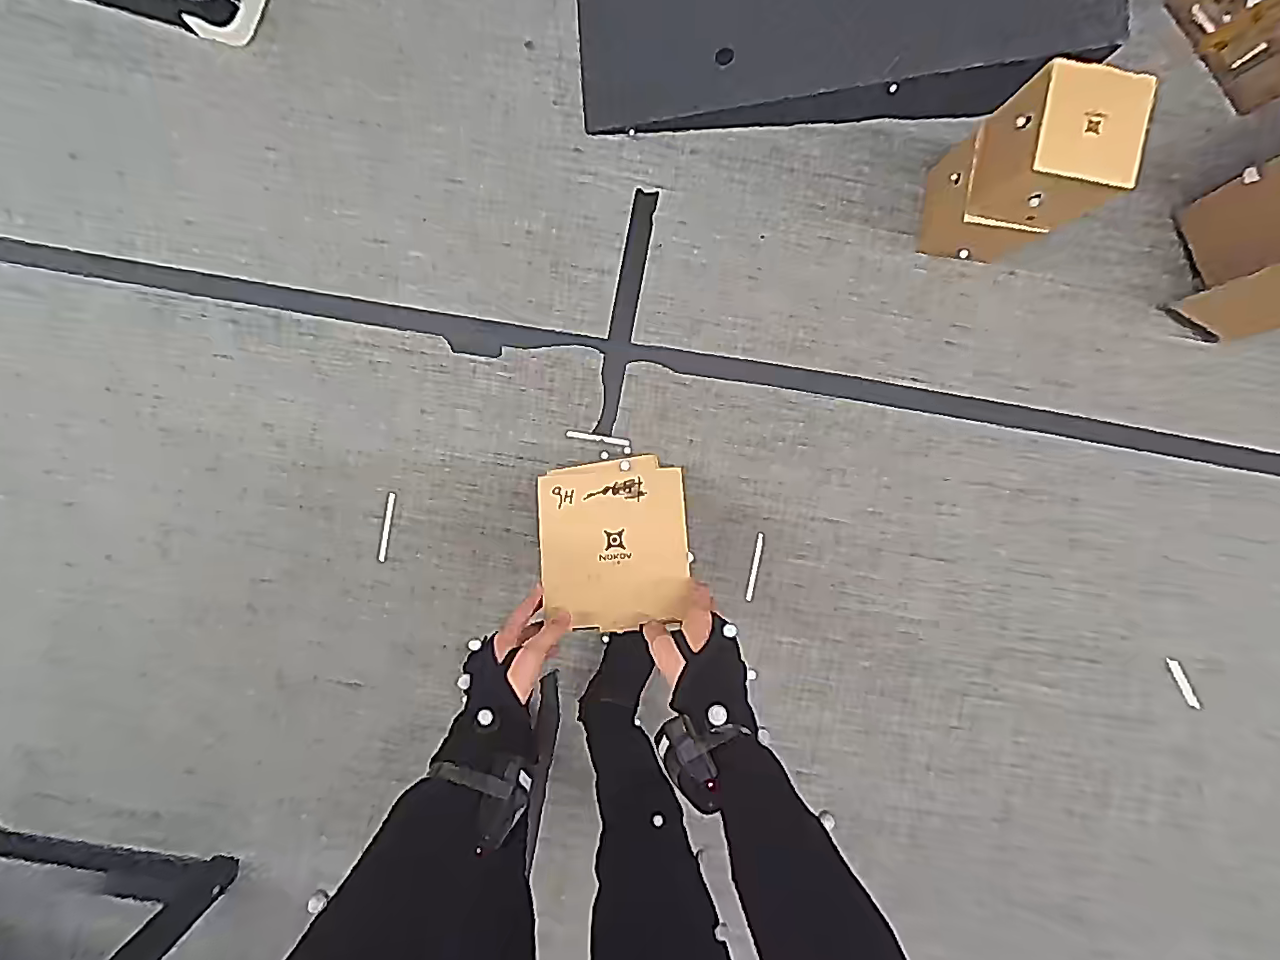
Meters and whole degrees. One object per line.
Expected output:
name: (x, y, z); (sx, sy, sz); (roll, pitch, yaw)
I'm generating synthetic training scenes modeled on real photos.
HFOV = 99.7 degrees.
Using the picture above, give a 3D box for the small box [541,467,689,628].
small box: (-0.029, 0.083, 0.690); (0.168, 0.176, 0.179); (-3, 83, -2)
